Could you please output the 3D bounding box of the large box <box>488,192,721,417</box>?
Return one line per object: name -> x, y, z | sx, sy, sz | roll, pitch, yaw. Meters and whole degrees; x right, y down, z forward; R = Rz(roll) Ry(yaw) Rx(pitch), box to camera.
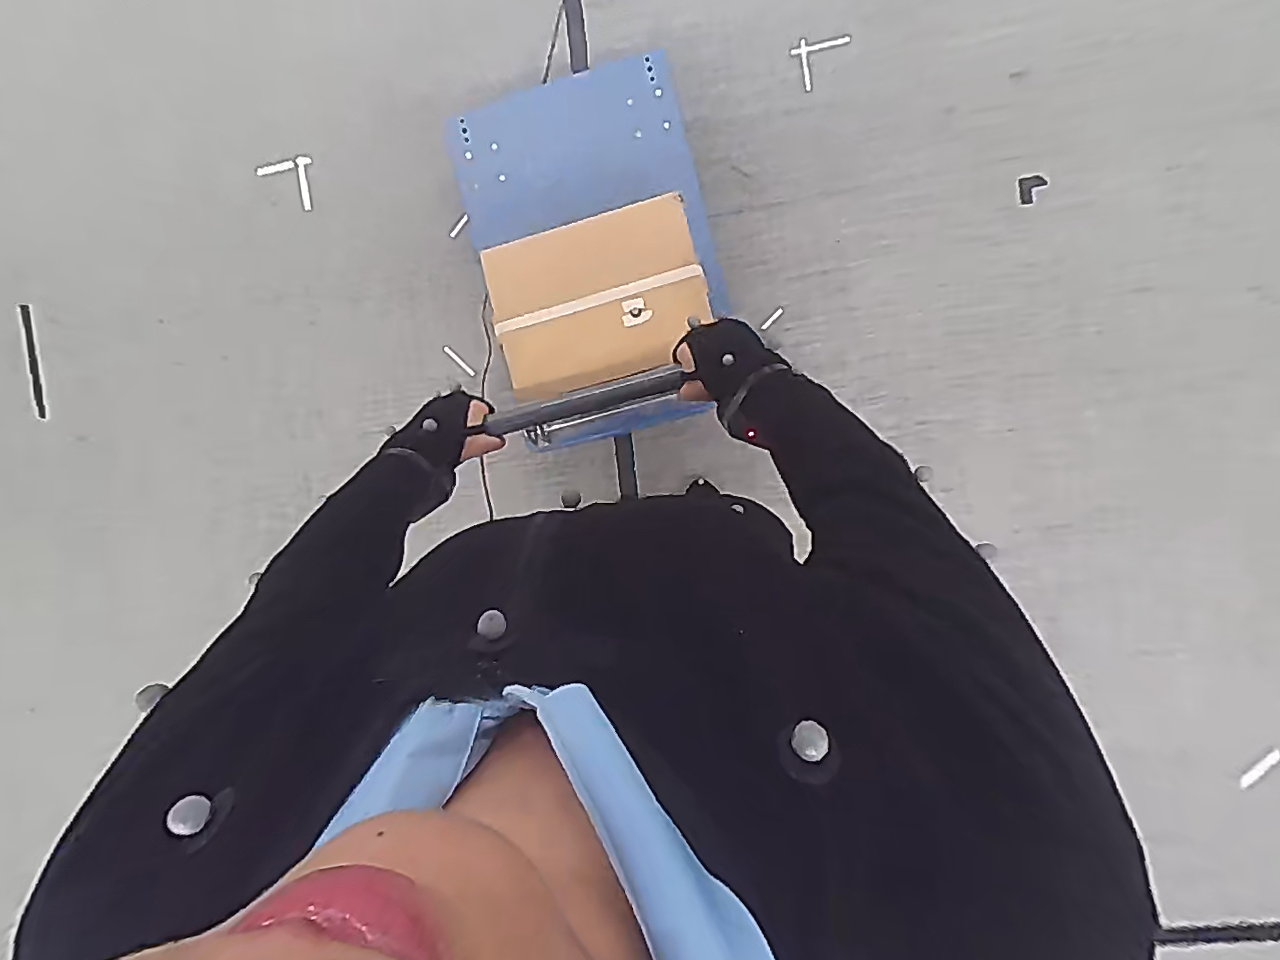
large box -> -0.060, -0.352, 1.194 | 0.408, 0.320, 0.320 | -15, 90, 5
